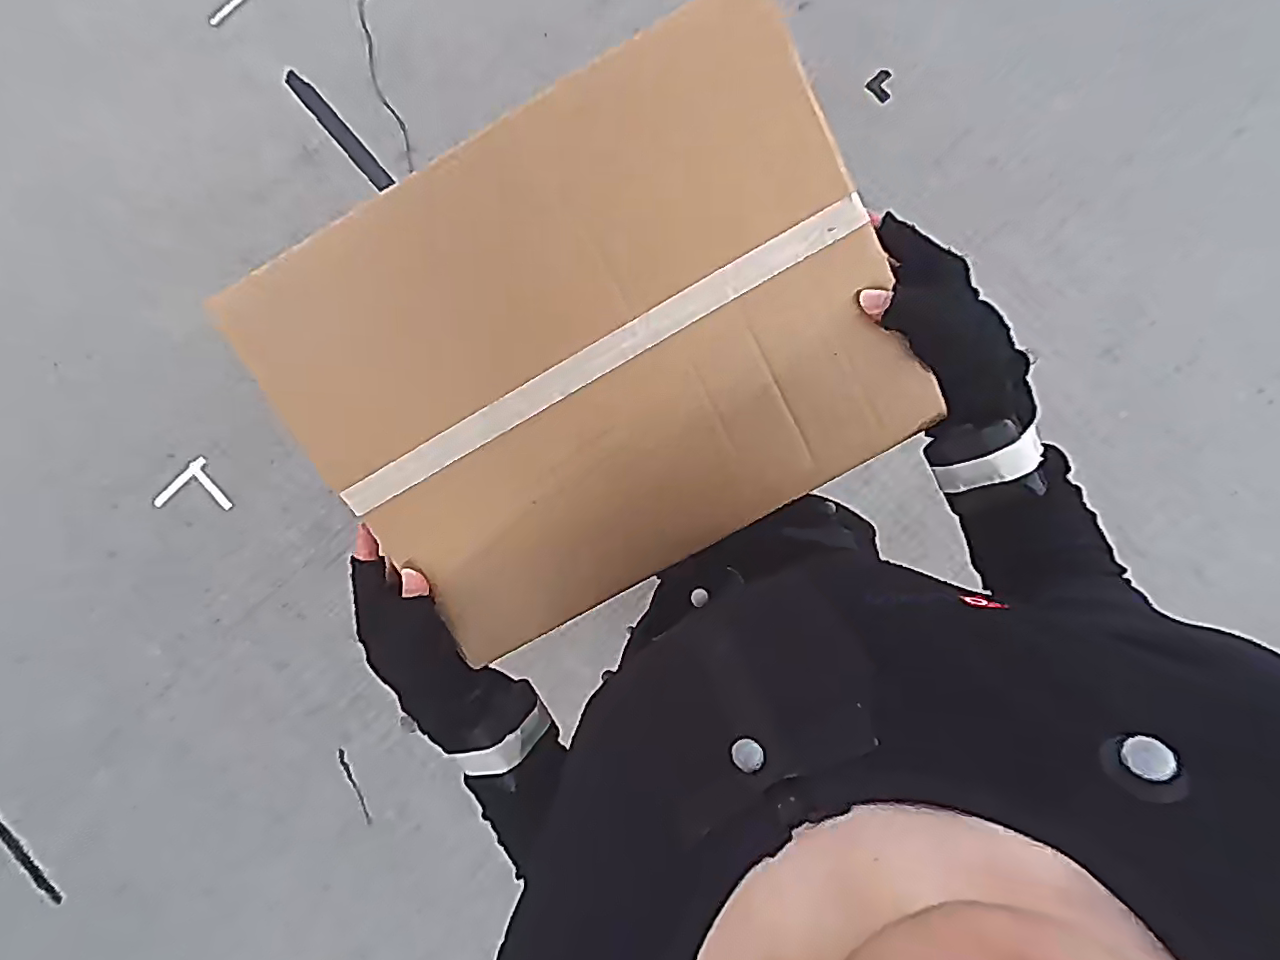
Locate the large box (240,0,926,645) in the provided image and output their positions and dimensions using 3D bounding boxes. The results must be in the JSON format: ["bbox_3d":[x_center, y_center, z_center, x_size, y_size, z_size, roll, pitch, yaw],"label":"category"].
[{"bbox_3d":[-0.038,-0.123,0.528,0.408,0.320,0.320,-29,104,4],"label":"large box"}]
